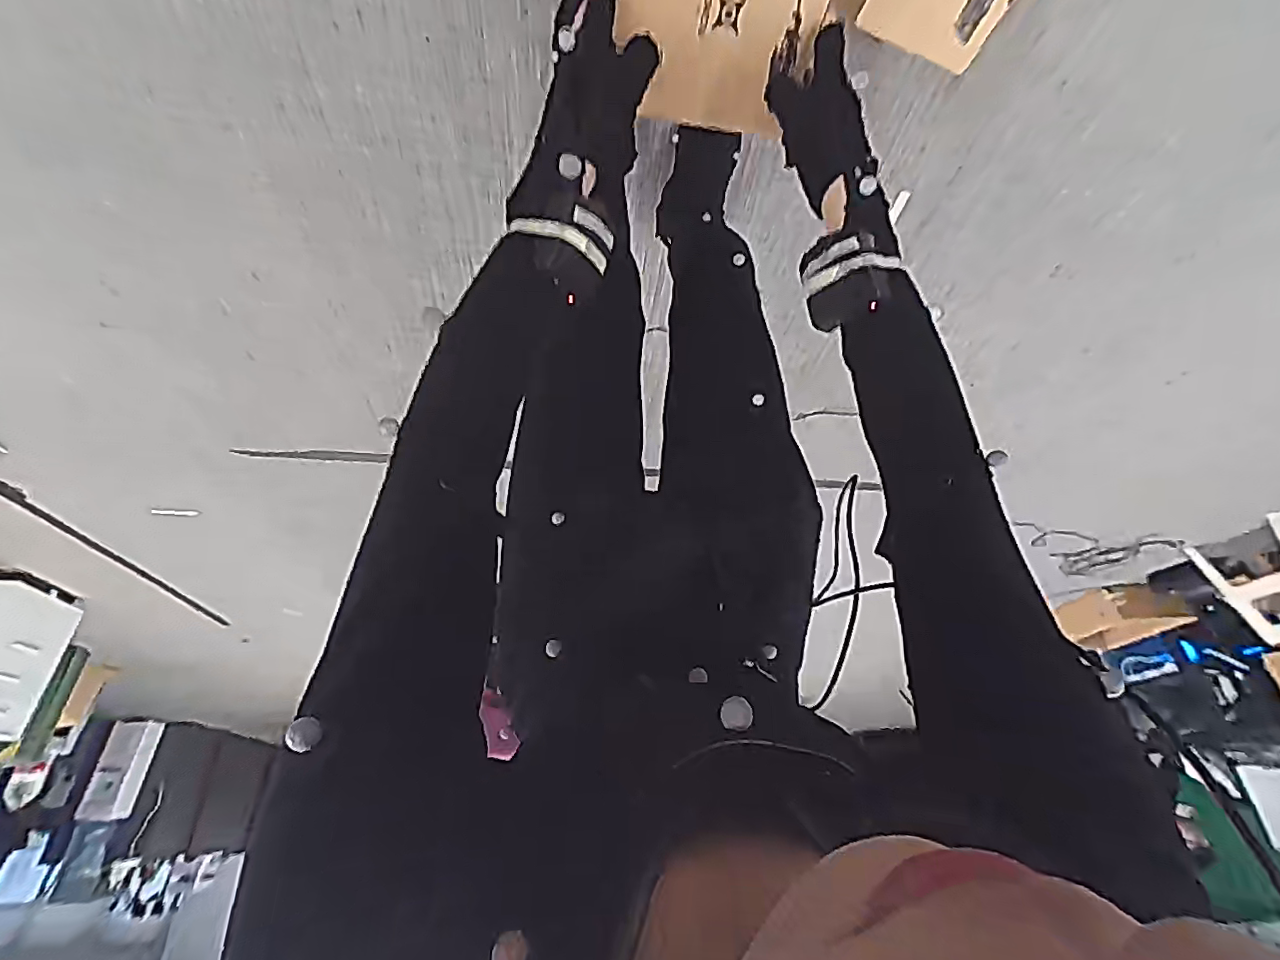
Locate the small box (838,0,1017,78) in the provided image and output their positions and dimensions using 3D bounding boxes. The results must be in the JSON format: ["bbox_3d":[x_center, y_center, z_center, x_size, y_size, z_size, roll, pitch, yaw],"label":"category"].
[{"bbox_3d":[0.367,-0.653,0.670,0.179,0.176,0.168,10,145,-17],"label":"small box"}]

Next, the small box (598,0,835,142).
[{"bbox_3d":[0.059,-0.429,0.468,0.179,0.176,0.168,4,142,-10],"label":"small box"}]
